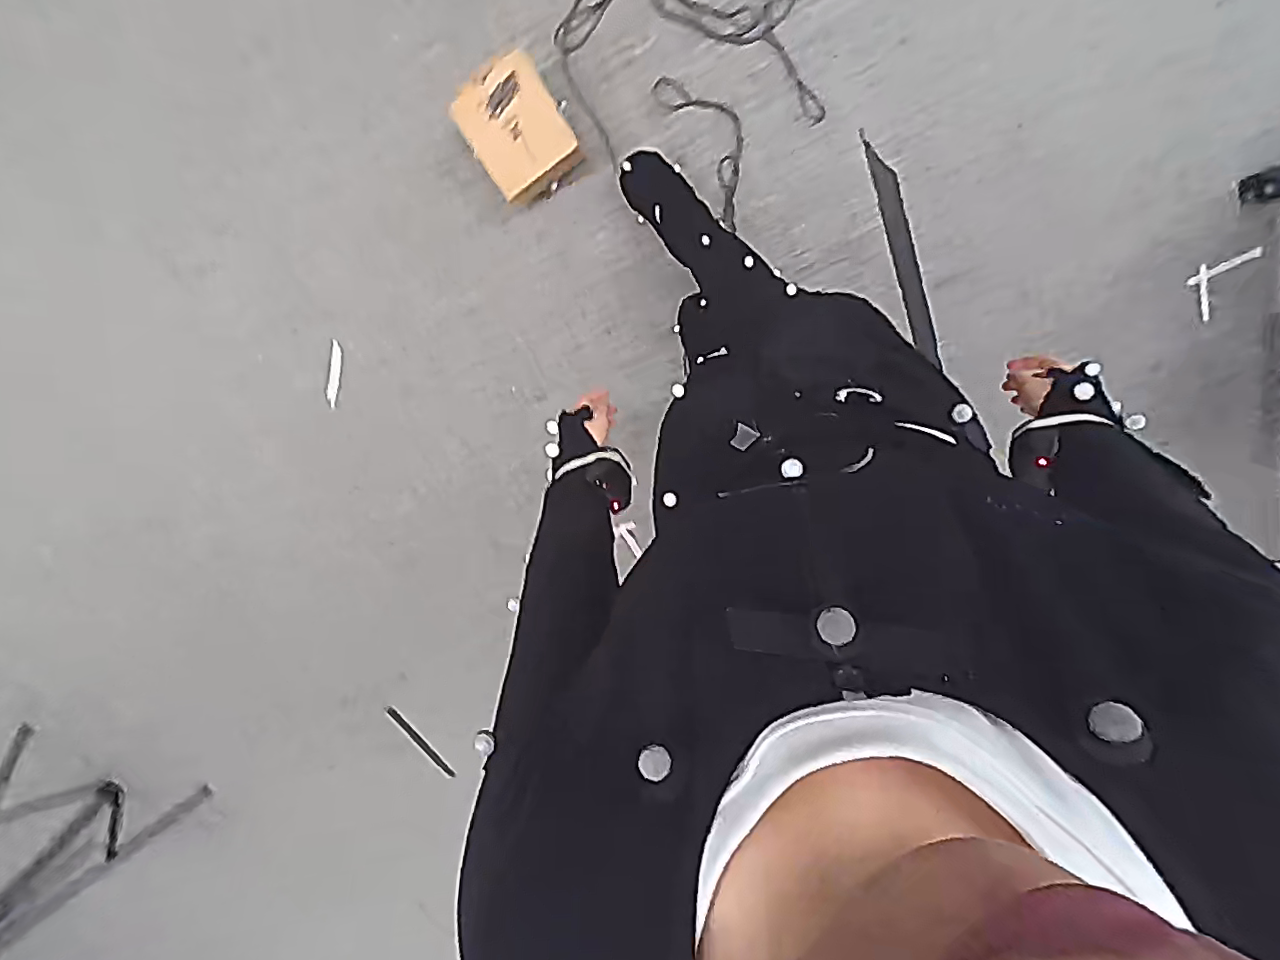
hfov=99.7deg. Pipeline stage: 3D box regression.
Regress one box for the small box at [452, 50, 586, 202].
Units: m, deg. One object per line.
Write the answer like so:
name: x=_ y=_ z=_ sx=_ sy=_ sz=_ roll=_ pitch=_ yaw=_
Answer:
small box: x=-0.221 y=-0.661 z=1.037 sx=0.168 sy=0.176 sz=0.179 roll=-30 pitch=111 yaw=14
